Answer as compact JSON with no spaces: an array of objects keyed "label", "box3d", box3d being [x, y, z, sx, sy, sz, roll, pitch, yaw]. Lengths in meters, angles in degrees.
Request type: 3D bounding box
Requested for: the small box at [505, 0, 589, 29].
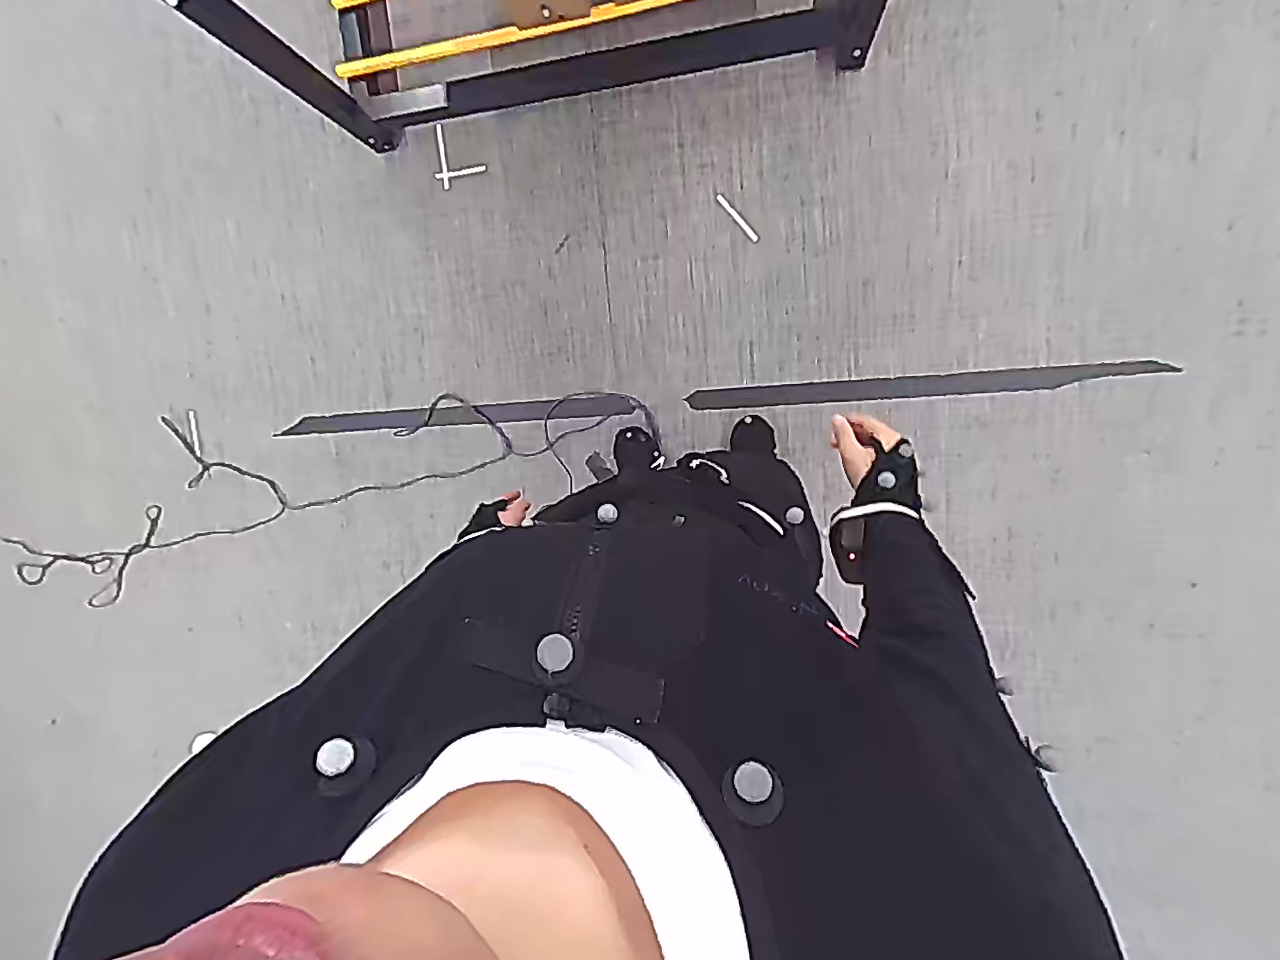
[{"label":"small box","box3d":[-0.204,-1.054,1.072,0.168,0.176,0.179,-2,99,10]}]
